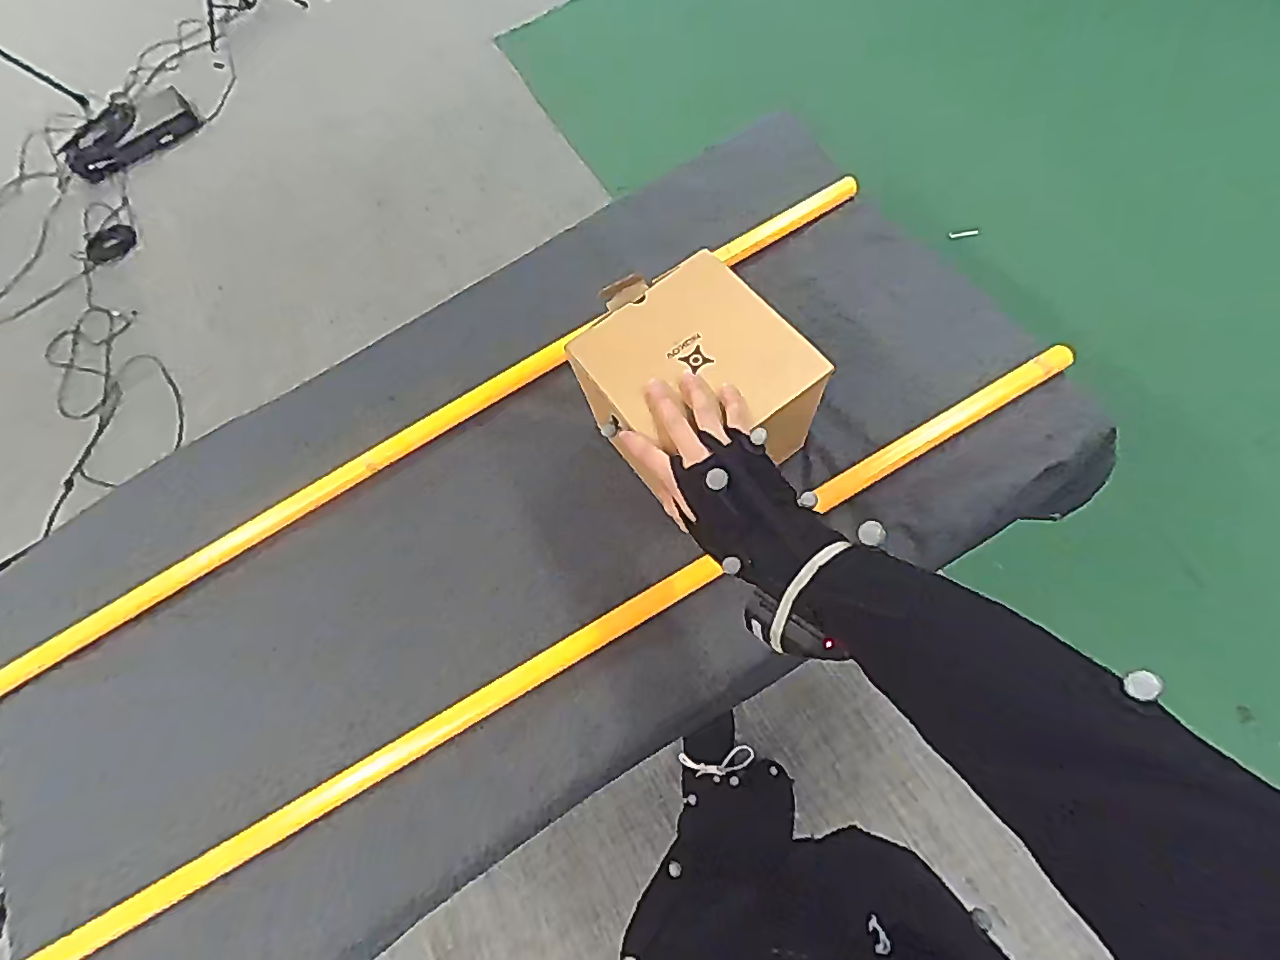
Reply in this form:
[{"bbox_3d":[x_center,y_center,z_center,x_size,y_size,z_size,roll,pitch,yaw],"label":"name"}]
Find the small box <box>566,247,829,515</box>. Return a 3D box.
[{"bbox_3d":[0.057,-0.083,0.544,0.168,0.176,0.179,-36,68,-5],"label":"small box"}]
